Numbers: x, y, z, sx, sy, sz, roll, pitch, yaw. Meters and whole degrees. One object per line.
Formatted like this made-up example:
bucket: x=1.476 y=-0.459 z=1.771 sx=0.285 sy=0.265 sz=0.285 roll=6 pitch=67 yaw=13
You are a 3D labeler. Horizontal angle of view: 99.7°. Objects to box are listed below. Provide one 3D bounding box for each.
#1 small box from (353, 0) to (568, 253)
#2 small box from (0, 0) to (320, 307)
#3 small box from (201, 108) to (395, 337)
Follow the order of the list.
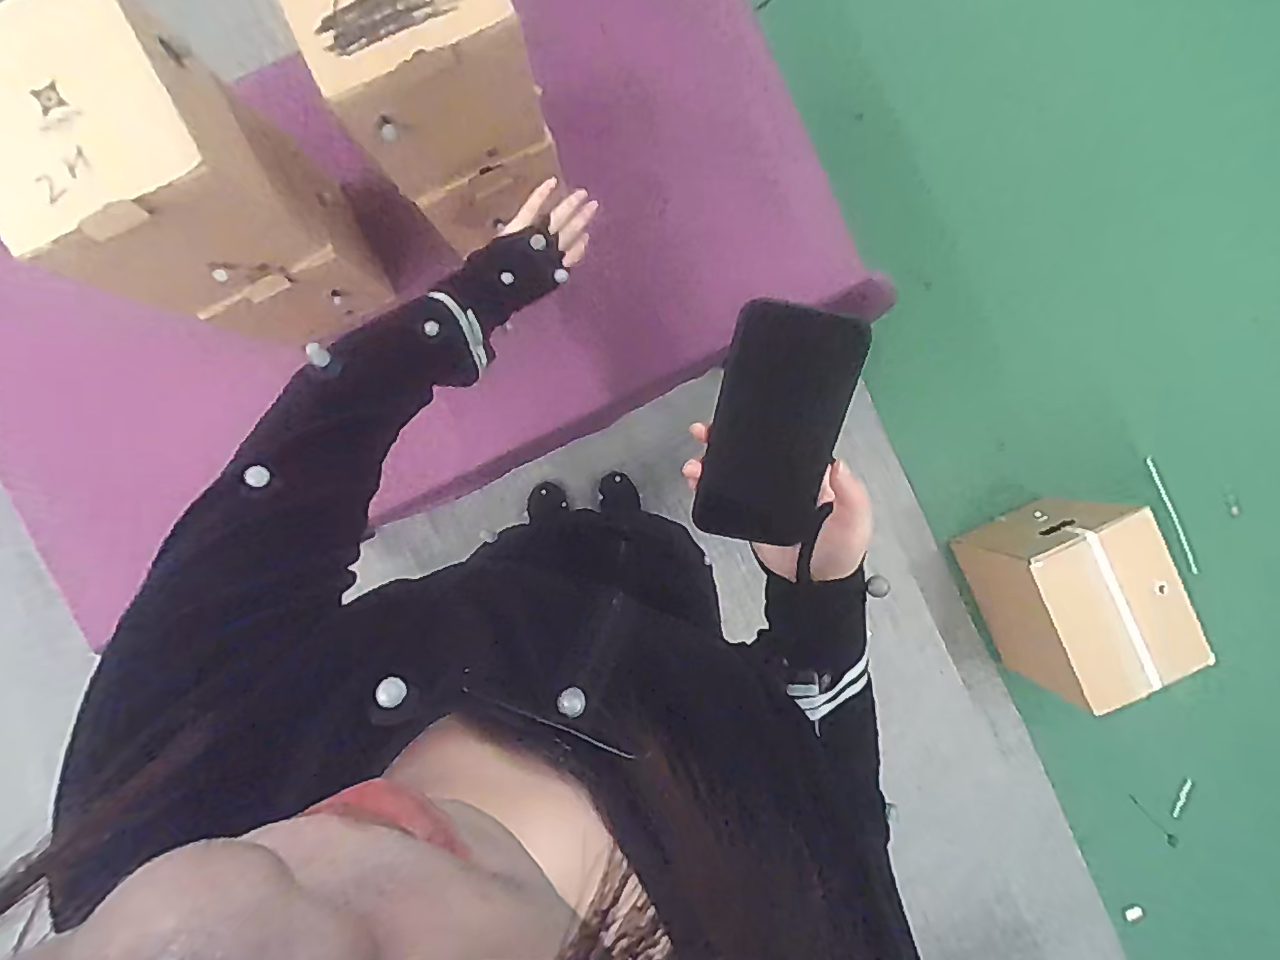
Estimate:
small box: x=-0.202 y=-0.415 z=0.662 sx=0.168 sy=0.176 sz=0.179 roll=-26 pitch=94 yaw=0
small box: x=-0.446 y=-0.289 z=0.497 sx=0.168 sy=0.176 sz=0.179 roll=-27 pitch=93 yaw=0
small box: x=-0.437 y=-0.292 z=0.662 sx=0.168 sy=0.176 sz=0.179 roll=-26 pitch=93 yaw=-1
